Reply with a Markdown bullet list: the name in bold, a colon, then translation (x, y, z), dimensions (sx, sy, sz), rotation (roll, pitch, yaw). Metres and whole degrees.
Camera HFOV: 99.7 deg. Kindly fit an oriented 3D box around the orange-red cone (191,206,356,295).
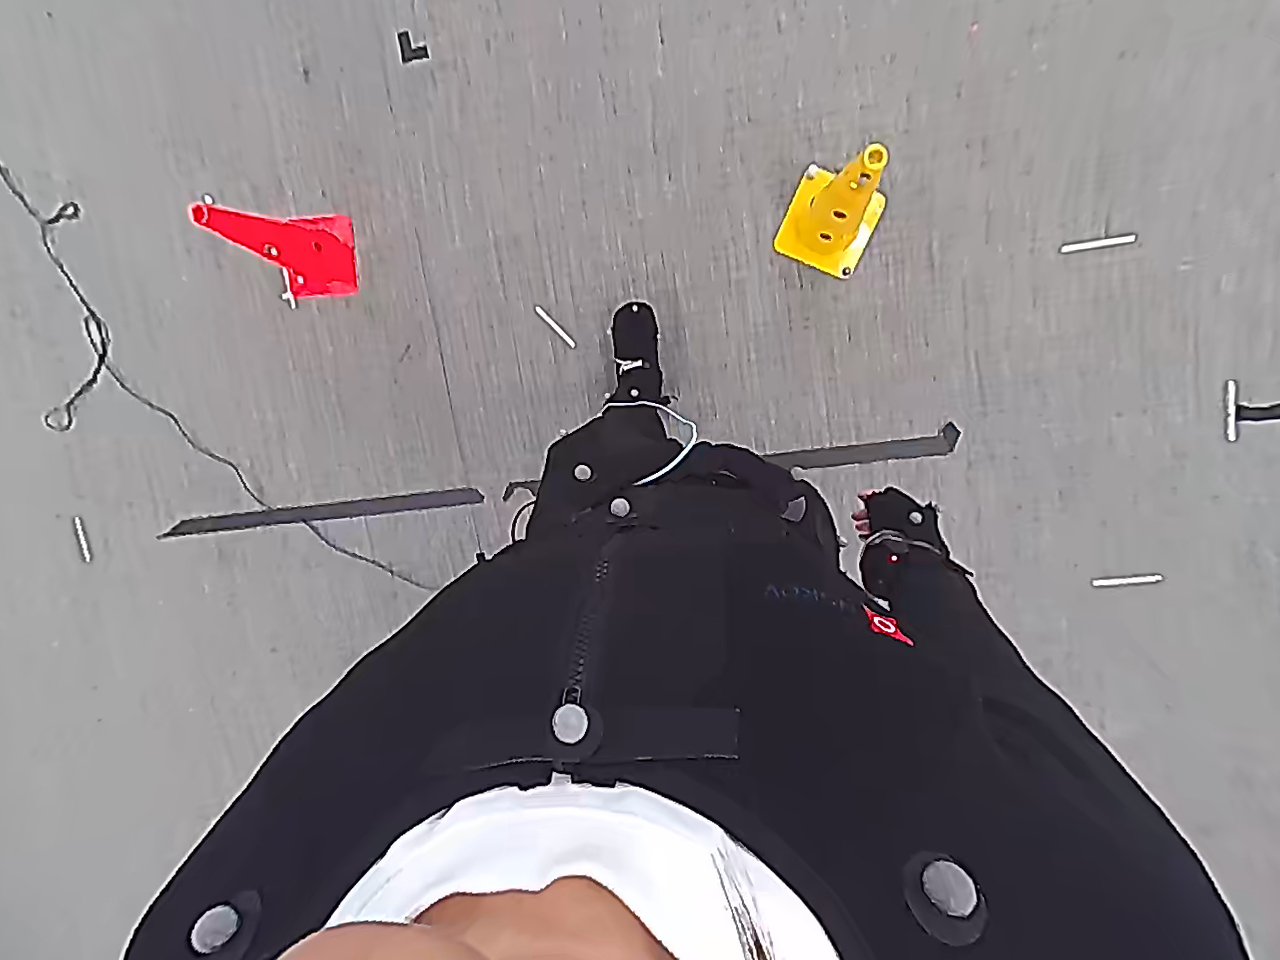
- **orange-red cone**: translation (-0.865, -0.564, 1.258), dimensions (0.199, 0.360, 0.198), rotation (0, 99, 6)
